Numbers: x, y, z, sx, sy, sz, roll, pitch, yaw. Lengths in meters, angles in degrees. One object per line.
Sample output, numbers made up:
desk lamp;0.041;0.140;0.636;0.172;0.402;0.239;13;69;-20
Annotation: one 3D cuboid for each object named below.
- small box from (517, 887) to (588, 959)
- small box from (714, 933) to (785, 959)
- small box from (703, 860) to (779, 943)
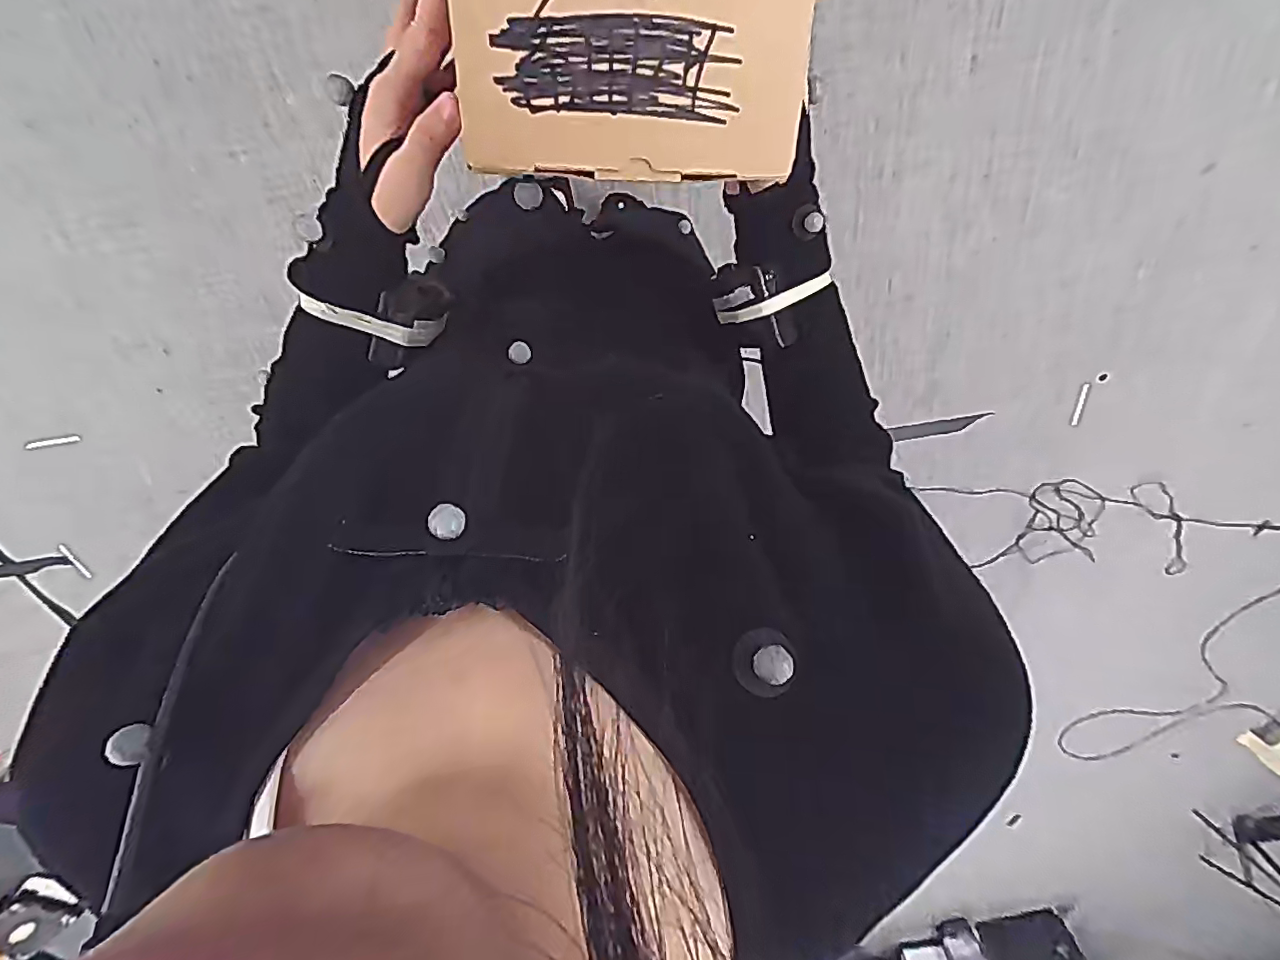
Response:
small box;-0.229;1.237;1.461;0.168;0.176;0.179;-5;122;-2
small box;0.278;1.235;1.310;0.168;0.176;0.179;-9;123;1
small box;0.265;1.142;1.444;0.168;0.176;0.179;-9;123;1
